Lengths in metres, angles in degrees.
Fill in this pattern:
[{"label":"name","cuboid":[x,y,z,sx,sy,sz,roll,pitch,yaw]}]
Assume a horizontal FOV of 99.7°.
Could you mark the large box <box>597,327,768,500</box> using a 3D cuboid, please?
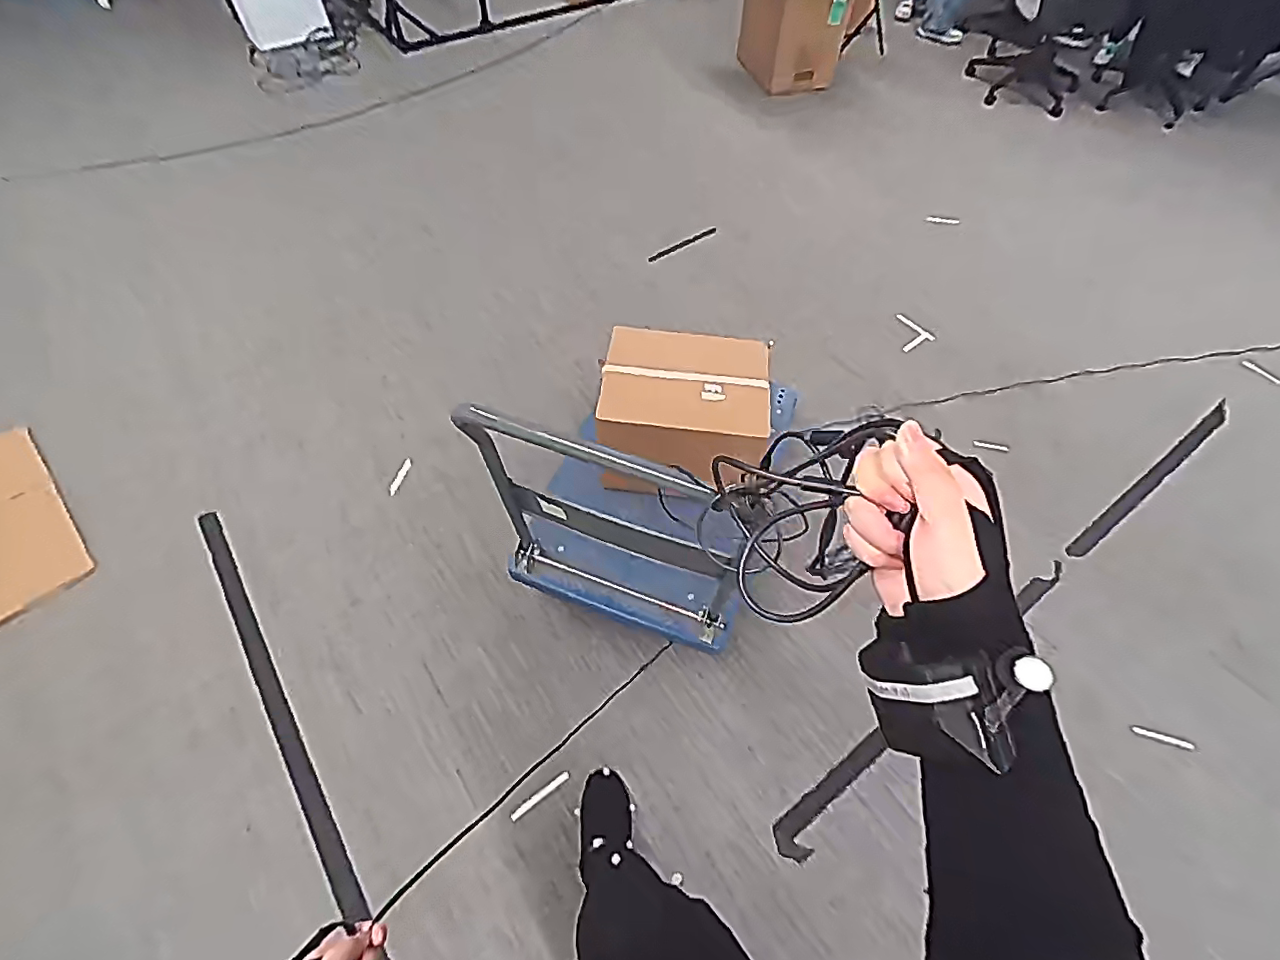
[{"label":"large box","cuboid":[0.103,-0.169,1.438,0.408,0.320,0.320,7,59,2]}]
